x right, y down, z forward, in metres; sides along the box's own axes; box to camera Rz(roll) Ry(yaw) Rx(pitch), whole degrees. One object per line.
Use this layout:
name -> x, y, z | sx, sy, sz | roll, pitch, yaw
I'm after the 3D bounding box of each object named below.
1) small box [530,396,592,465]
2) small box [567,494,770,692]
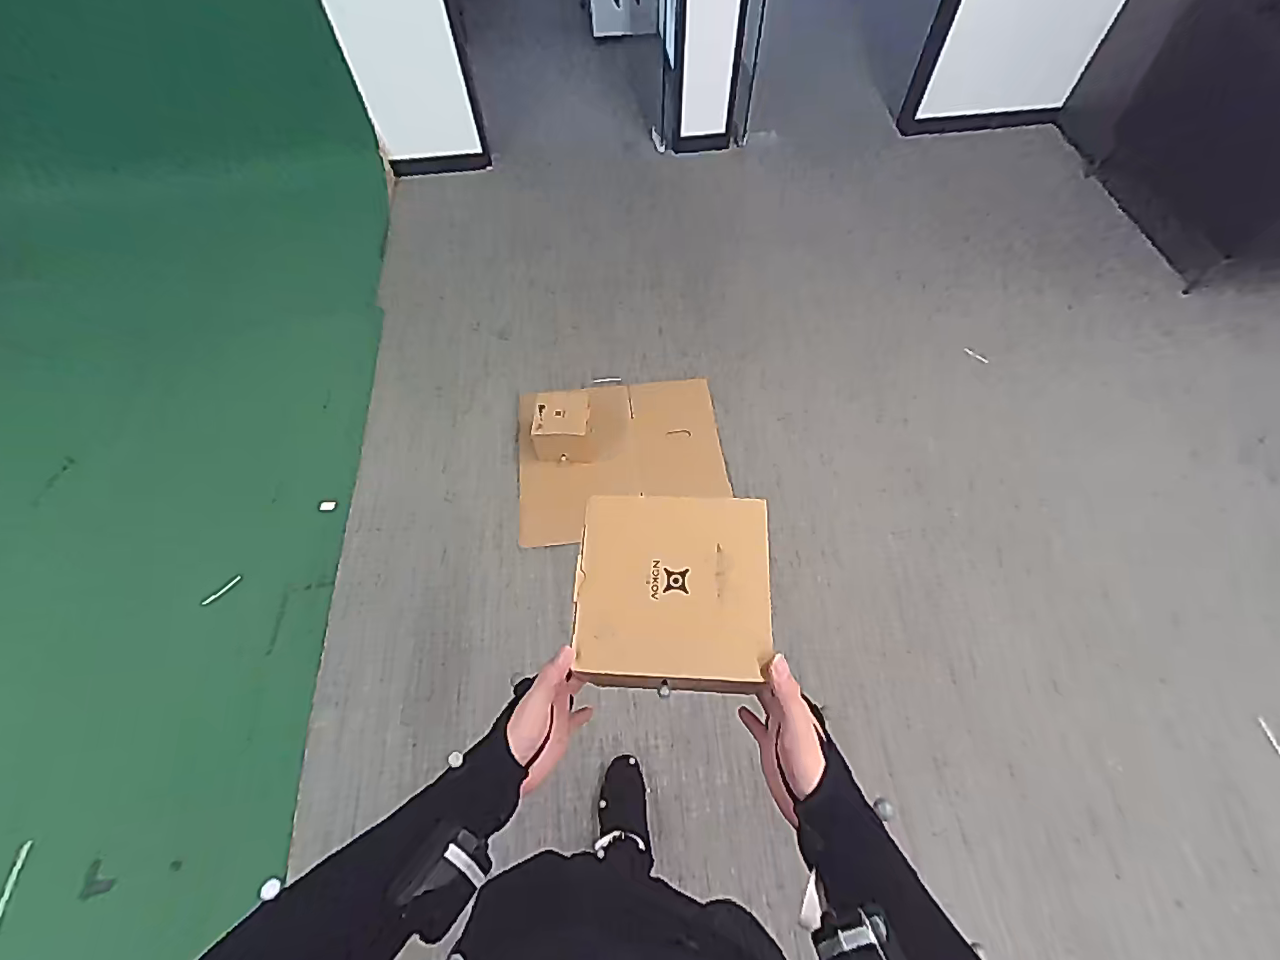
small box -> -0.256, -0.160, 1.800 | 0.179, 0.176, 0.168 | 2, 60, 1
small box -> 0.035, 0.124, 0.561 | 0.179, 0.176, 0.168 | 2, 65, 6
